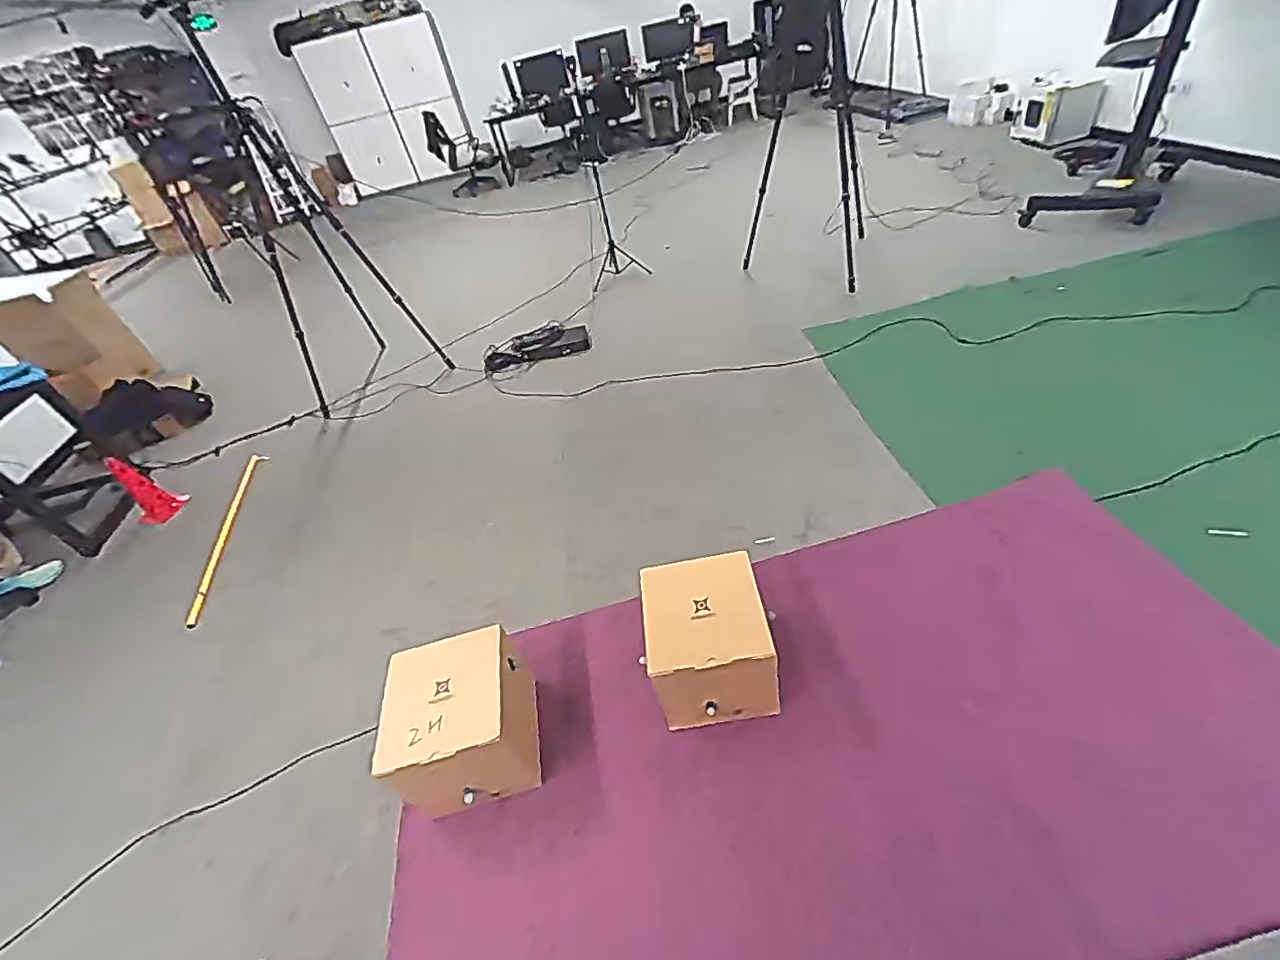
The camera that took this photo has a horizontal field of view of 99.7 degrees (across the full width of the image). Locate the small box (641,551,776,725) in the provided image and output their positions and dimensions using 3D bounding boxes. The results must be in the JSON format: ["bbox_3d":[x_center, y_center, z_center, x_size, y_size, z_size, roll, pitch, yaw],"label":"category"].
[{"bbox_3d":[0.100,0.235,0.804,0.168,0.176,0.179,-11,42,5],"label":"small box"}]

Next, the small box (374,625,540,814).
[{"bbox_3d":[-0.251,0.346,0.783,0.168,0.176,0.179,-16,41,-1],"label":"small box"}]
